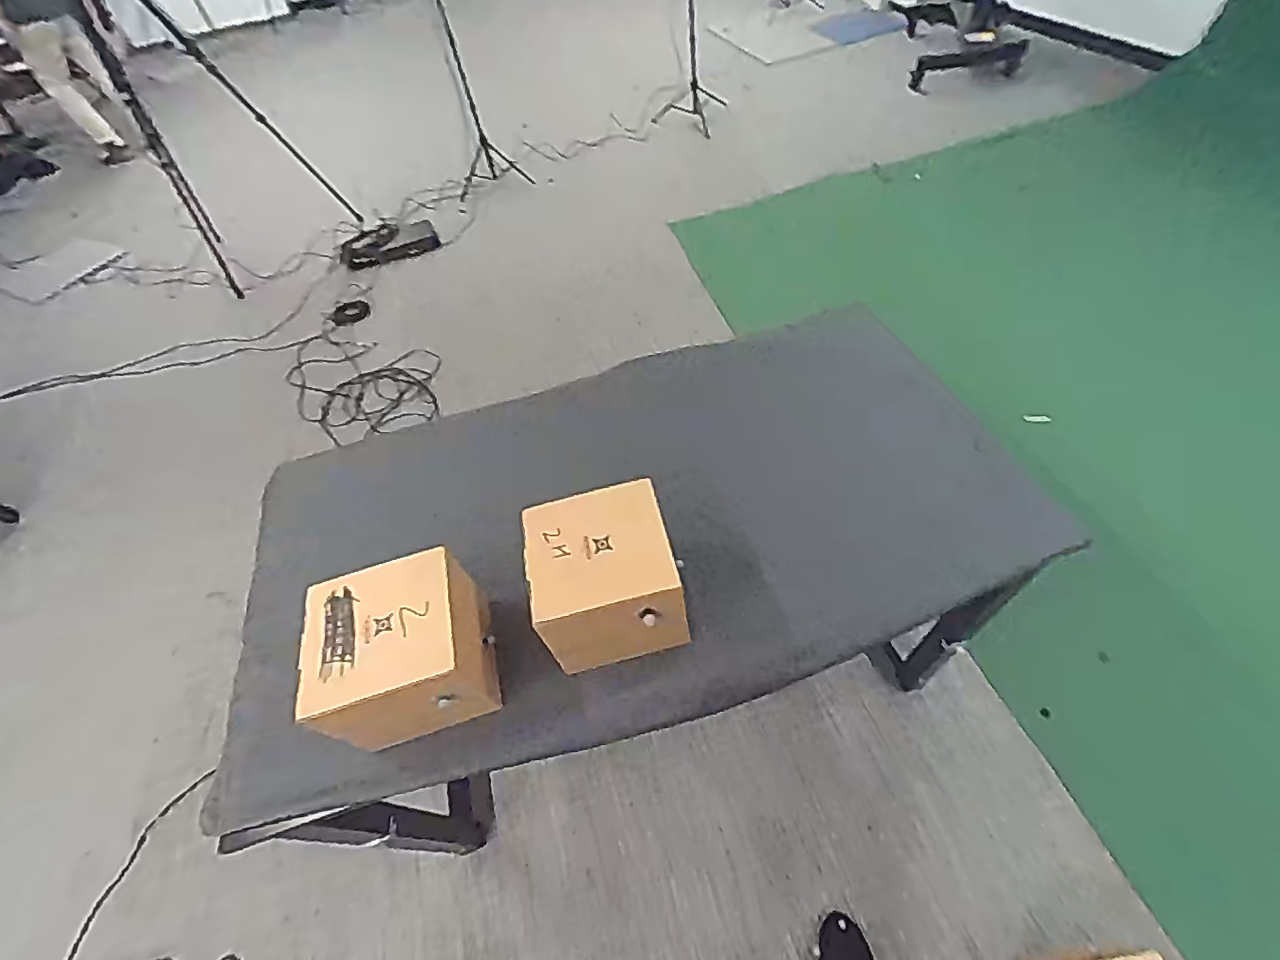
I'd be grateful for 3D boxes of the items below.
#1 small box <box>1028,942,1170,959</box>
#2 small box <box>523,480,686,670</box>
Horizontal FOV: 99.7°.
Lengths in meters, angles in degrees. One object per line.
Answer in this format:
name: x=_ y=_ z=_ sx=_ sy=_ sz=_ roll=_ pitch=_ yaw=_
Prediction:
small box: x=0.810 y=0.911 z=0.917 sx=0.179 sy=0.176 sz=0.168 roll=-11 pitch=54 yaw=1
small box: x=-0.041 y=0.130 z=0.716 sx=0.179 sy=0.176 sz=0.168 roll=-15 pitch=51 yaw=-1
